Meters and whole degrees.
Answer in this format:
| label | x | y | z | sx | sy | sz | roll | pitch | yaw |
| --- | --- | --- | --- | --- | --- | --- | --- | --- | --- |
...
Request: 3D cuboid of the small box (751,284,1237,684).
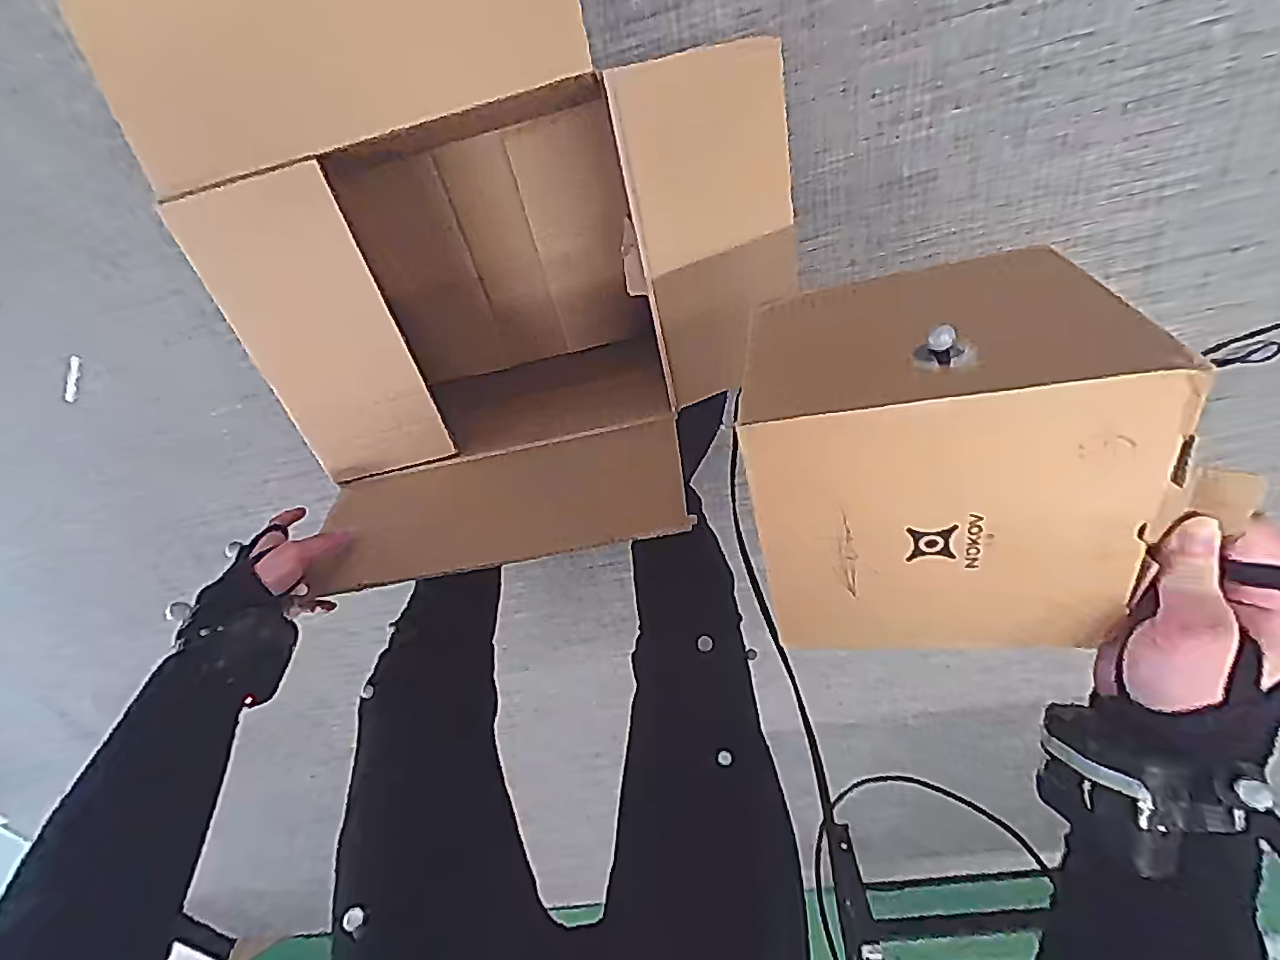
| label | x | y | z | sx | sy | sz | roll | pitch | yaw |
| --- | --- | --- | --- | --- | --- | --- | --- | --- | --- |
| small box | 0.163 | -0.004 | 0.322 | 0.179 | 0.176 | 0.168 | -4 | 123 | 17 |
